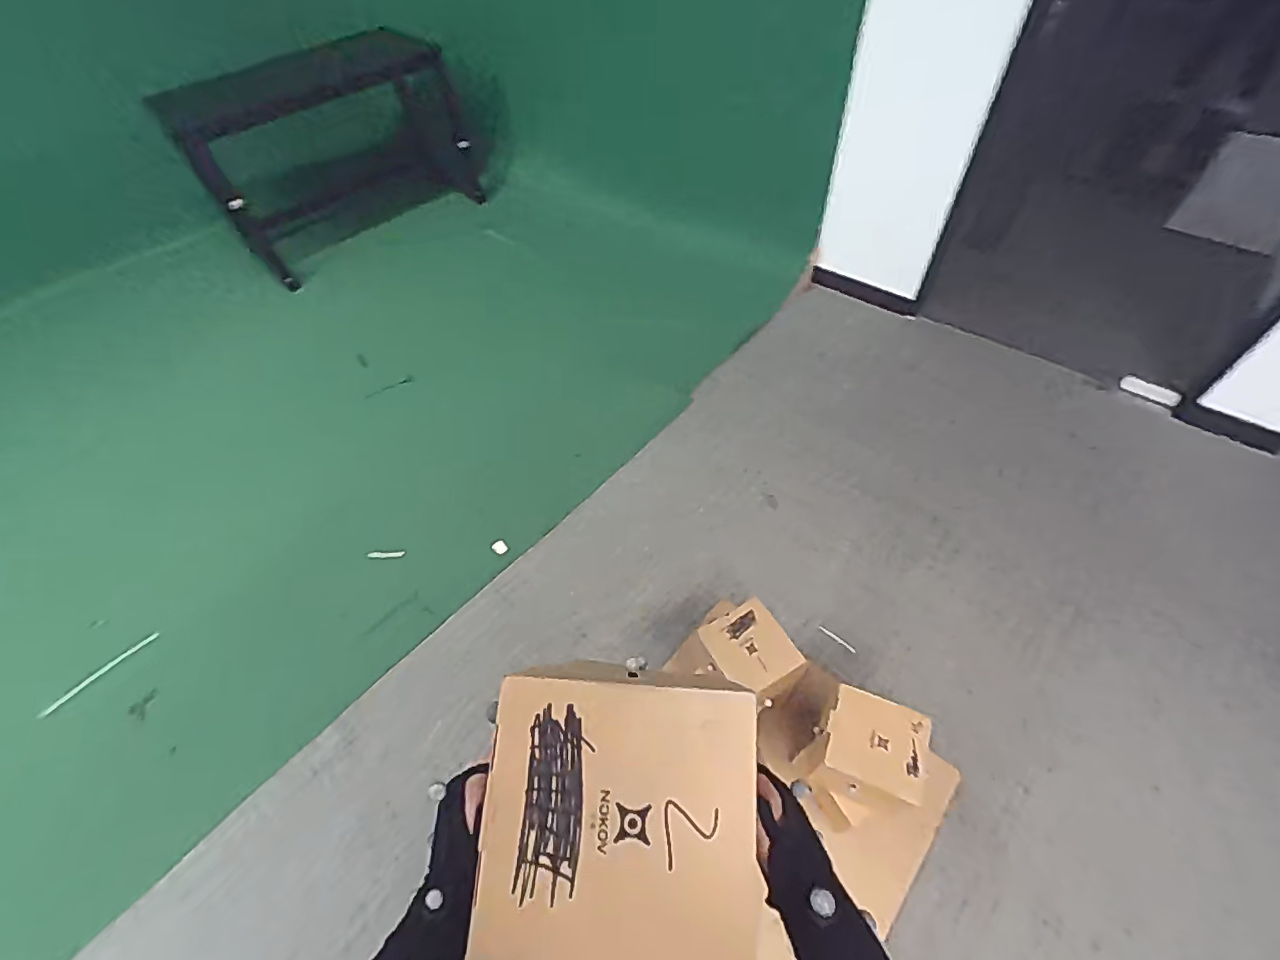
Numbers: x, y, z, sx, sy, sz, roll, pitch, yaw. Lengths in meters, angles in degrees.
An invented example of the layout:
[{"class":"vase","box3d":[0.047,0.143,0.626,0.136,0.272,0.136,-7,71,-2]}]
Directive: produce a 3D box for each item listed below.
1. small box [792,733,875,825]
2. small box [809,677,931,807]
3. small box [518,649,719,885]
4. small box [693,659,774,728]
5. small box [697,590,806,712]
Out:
[{"class":"small box","box3d":[0.464,0.638,1.207,0.179,0.176,0.168,-25,55,-14]},{"class":"small box","box3d":[0.453,0.529,1.084,0.179,0.176,0.168,18,56,18]},{"class":"small box","box3d":[-0.017,0.283,0.576,0.168,0.176,0.179,9,73,1]},{"class":"small box","box3d":[0.250,0.482,1.343,0.168,0.176,0.179,37,63,26]},{"class":"small box","box3d":[0.238,0.386,1.211,0.168,0.176,0.179,-25,56,-15]}]
